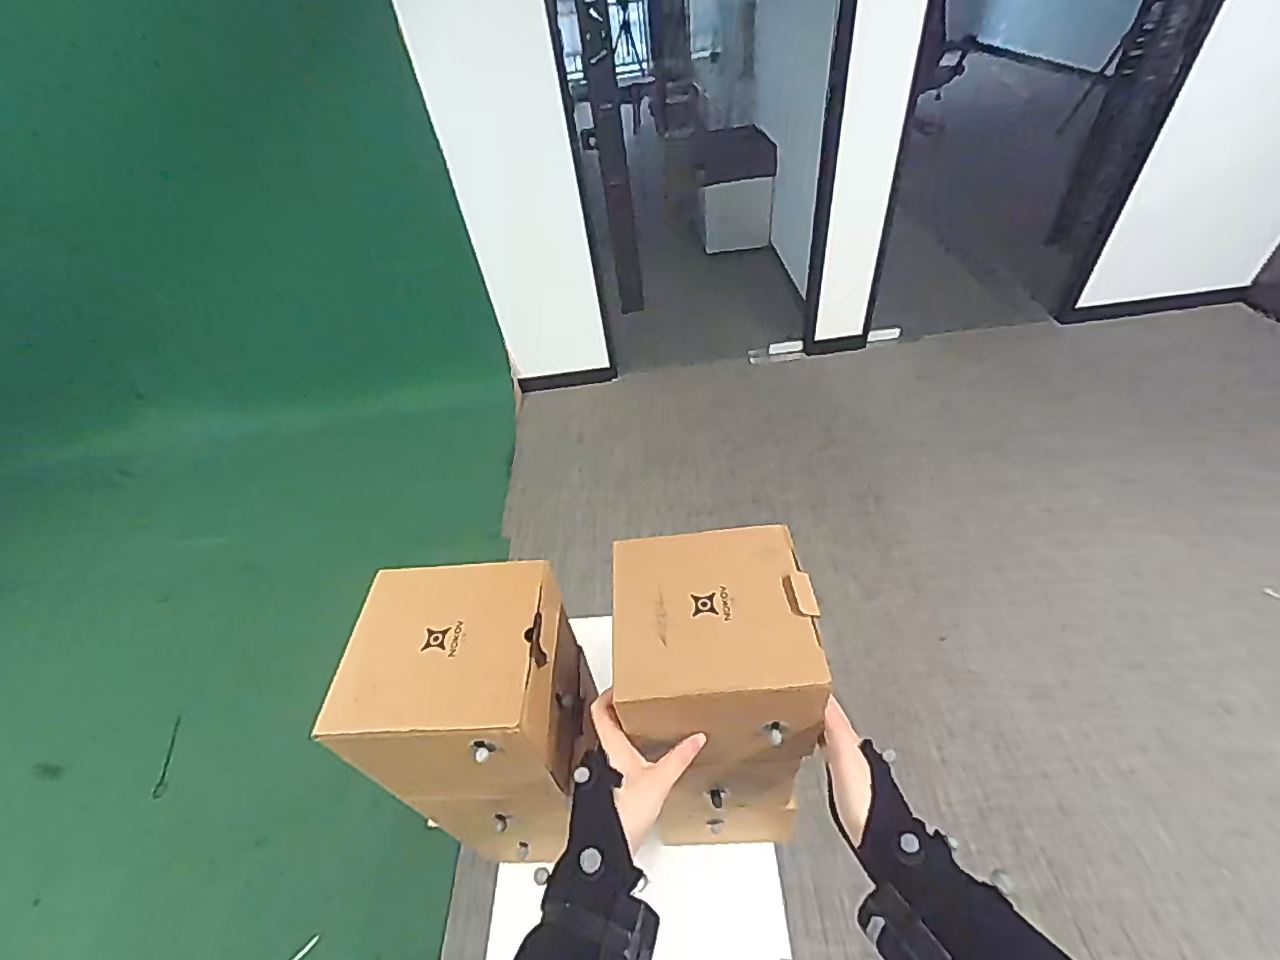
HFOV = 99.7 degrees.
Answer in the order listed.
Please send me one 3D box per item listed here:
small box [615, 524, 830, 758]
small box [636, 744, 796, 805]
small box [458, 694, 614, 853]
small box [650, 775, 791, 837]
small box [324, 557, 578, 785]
[{"bbox_3d":[0.074,0.165,0.546,0.179,0.176,0.168,-6,45,5],"label":"small box"},{"bbox_3d":[0.084,0.281,0.661,0.168,0.176,0.179,-6,45,2],"label":"small box"},{"bbox_3d":[-0.136,0.427,0.783,0.179,0.176,0.168,-3,46,3],"label":"small box"},{"bbox_3d":[0.109,0.398,0.775,0.179,0.176,0.168,-5,45,5],"label":"small box"},{"bbox_3d":[-0.168,0.197,0.551,0.179,0.176,0.168,-4,45,3],"label":"small box"}]
